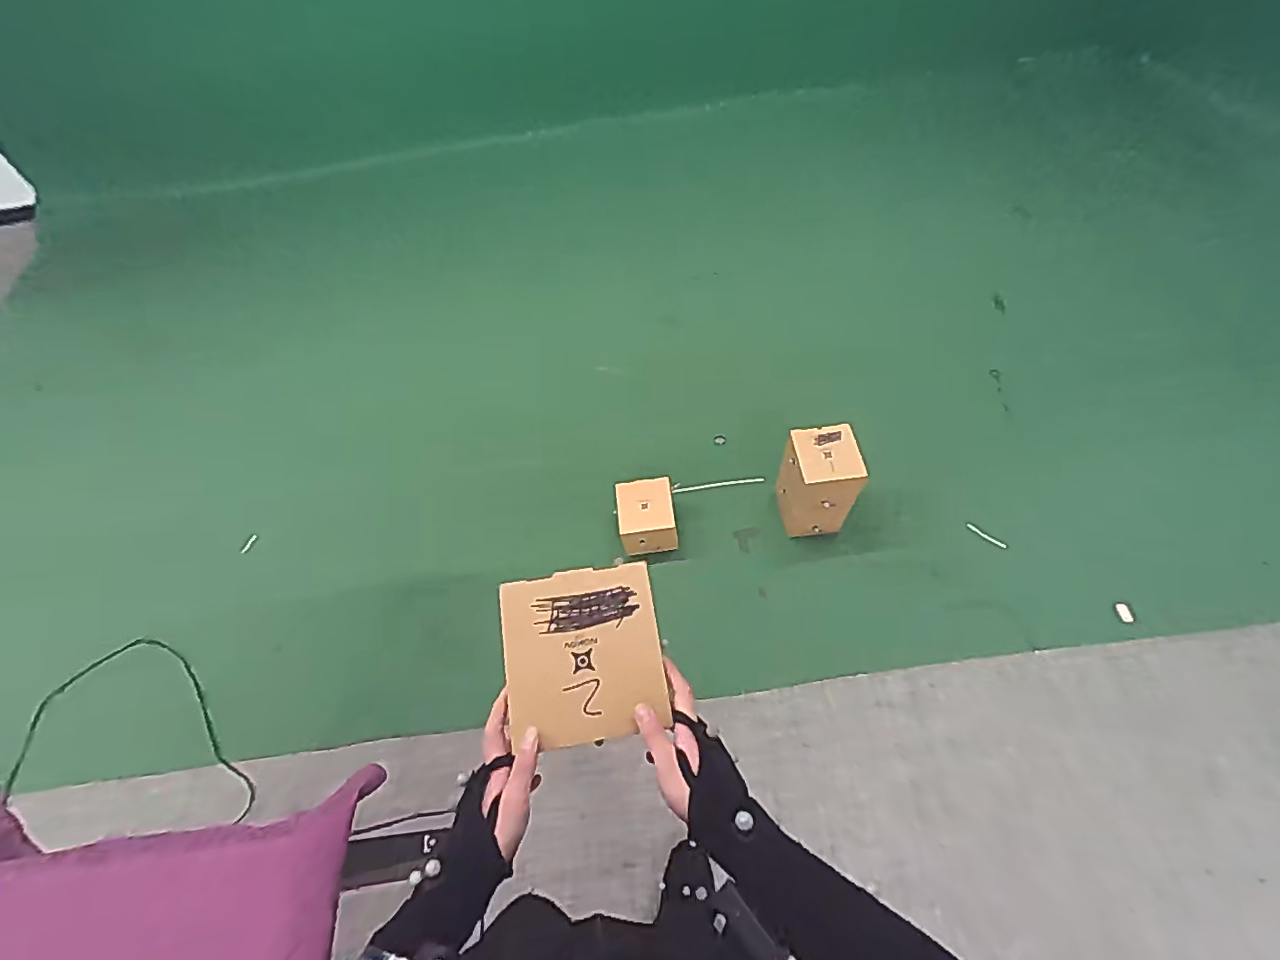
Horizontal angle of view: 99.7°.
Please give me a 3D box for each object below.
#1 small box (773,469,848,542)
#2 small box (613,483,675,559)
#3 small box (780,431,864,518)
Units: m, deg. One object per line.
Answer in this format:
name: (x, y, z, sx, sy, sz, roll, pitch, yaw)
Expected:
small box: (0.513, 0.073, 1.658, 0.168, 0.176, 0.179, -7, 58, 1)
small box: (0.014, 0.134, 1.671, 0.168, 0.176, 0.179, -8, 57, 1)
small box: (0.502, -0.014, 1.518, 0.168, 0.176, 0.179, -7, 58, 1)
